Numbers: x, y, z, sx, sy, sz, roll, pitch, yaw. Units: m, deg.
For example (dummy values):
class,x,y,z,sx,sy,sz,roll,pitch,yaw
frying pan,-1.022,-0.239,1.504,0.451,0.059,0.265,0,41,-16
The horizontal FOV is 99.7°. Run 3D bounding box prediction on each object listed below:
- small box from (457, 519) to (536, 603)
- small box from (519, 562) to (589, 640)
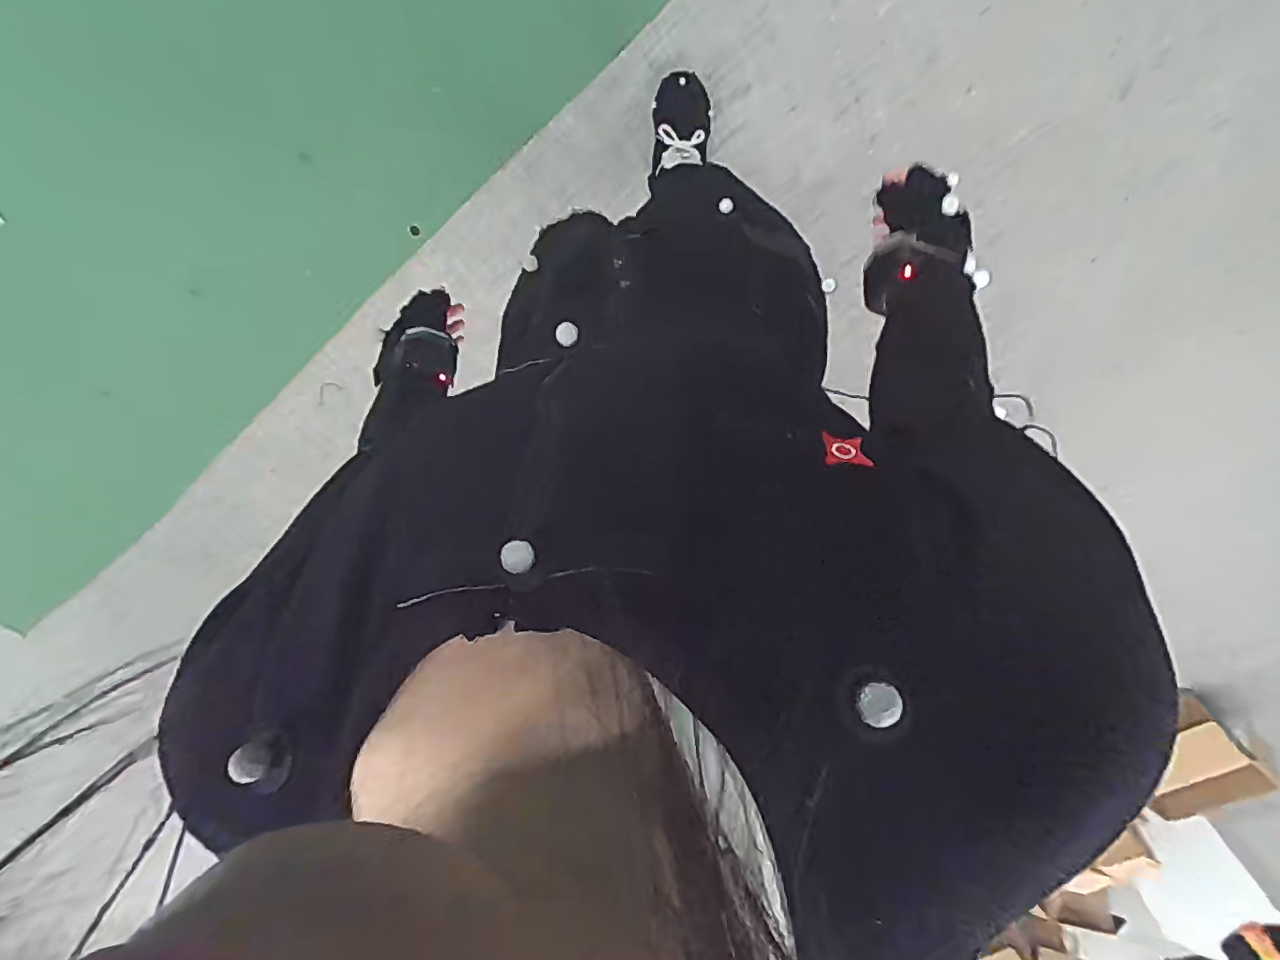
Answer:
class,x,y,z,sx,sy,sz,roll,pitch,yaw
small box,-0.464,0.265,1.781,0.179,0.176,0.168,-35,119,23
small box,-0.292,0.417,1.882,0.168,0.176,0.179,39,118,-23
